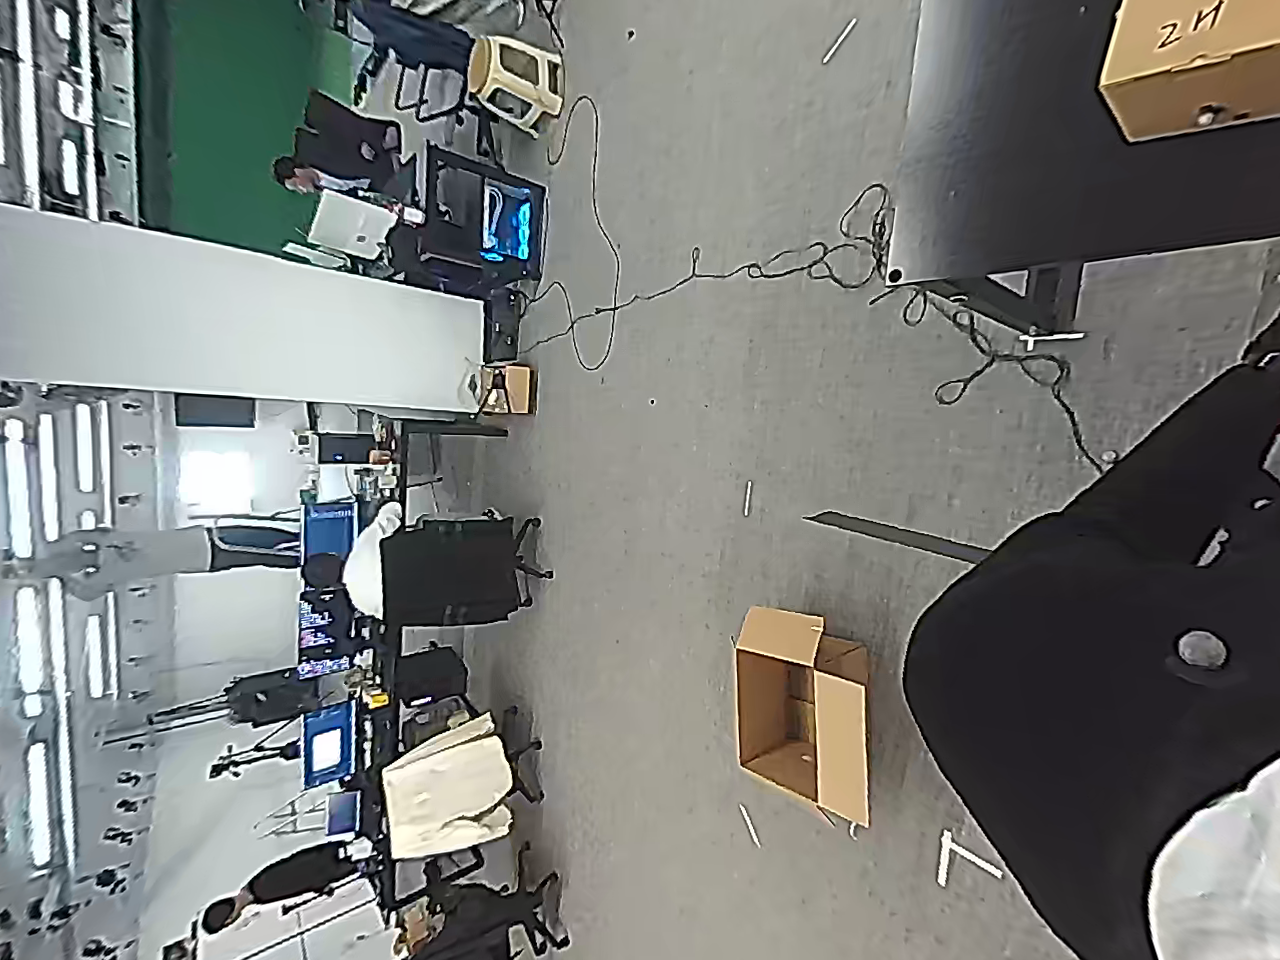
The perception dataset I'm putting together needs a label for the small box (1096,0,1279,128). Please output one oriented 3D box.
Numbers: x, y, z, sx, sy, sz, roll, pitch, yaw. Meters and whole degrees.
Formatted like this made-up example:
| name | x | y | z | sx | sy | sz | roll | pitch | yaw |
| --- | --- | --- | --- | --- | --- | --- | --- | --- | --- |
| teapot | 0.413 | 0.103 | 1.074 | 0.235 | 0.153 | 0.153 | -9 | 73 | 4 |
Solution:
| name | x | y | z | sx | sy | sz | roll | pitch | yaw |
| --- | --- | --- | --- | --- | --- | --- | --- | --- | --- |
| small box | 0.632 | -0.517 | 0.575 | 0.168 | 0.176 | 0.179 | 22 | 109 | 49 |
